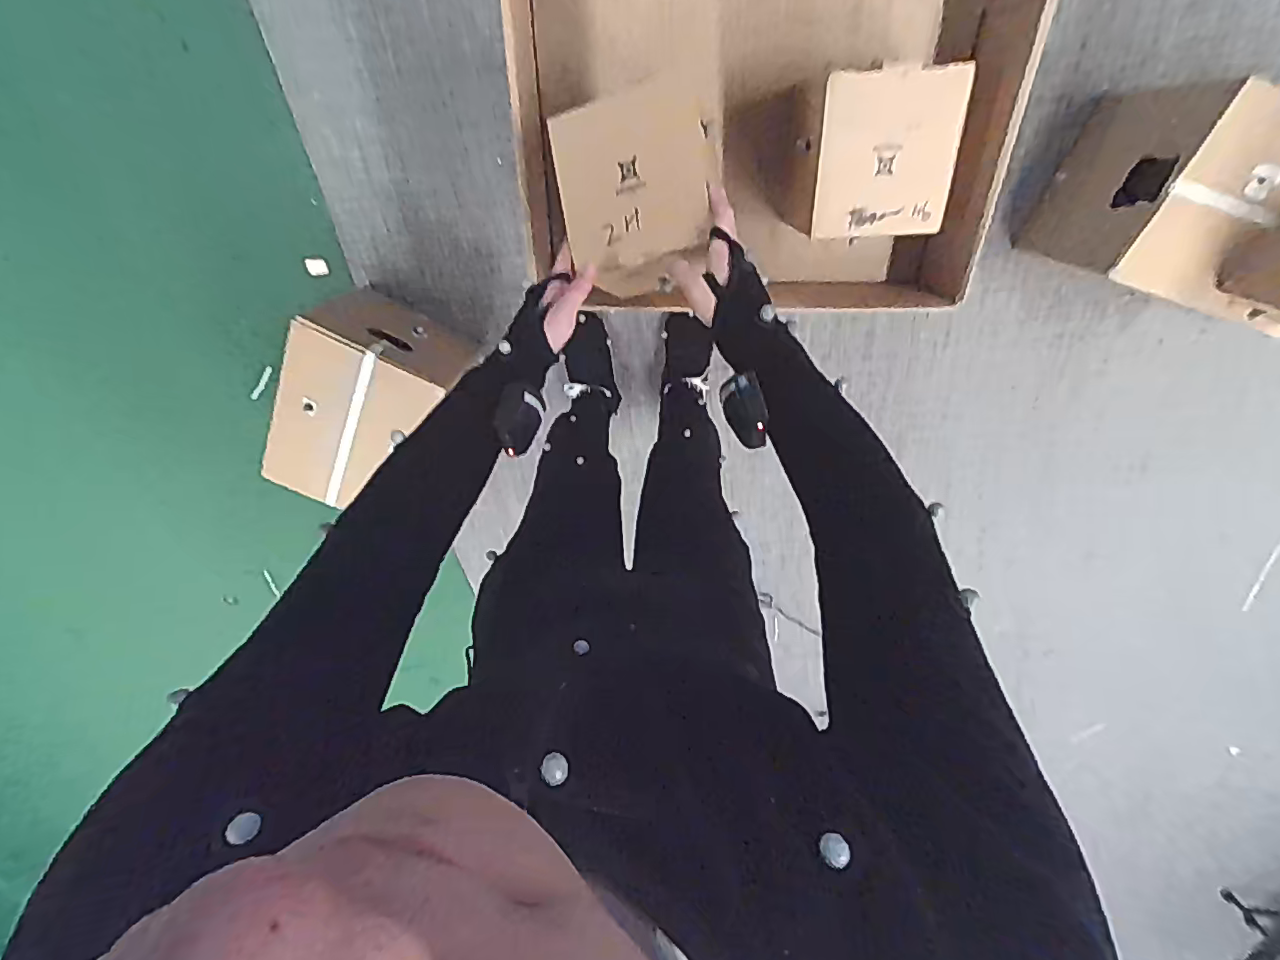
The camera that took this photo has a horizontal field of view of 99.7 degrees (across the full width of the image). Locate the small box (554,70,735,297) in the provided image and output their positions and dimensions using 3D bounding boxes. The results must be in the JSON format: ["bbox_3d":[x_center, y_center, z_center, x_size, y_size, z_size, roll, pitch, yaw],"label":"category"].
[{"bbox_3d":[0.016,-0.338,0.659,0.168,0.176,0.179,-8,99,18],"label":"small box"}]

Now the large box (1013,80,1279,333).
[{"bbox_3d":[1.075,-0.528,1.061,0.408,0.320,0.320,15,120,-7],"label":"large box"}]

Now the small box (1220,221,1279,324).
[{"bbox_3d":[1.145,-0.345,0.885,0.168,0.176,0.179,20,121,-11],"label":"small box"}]
